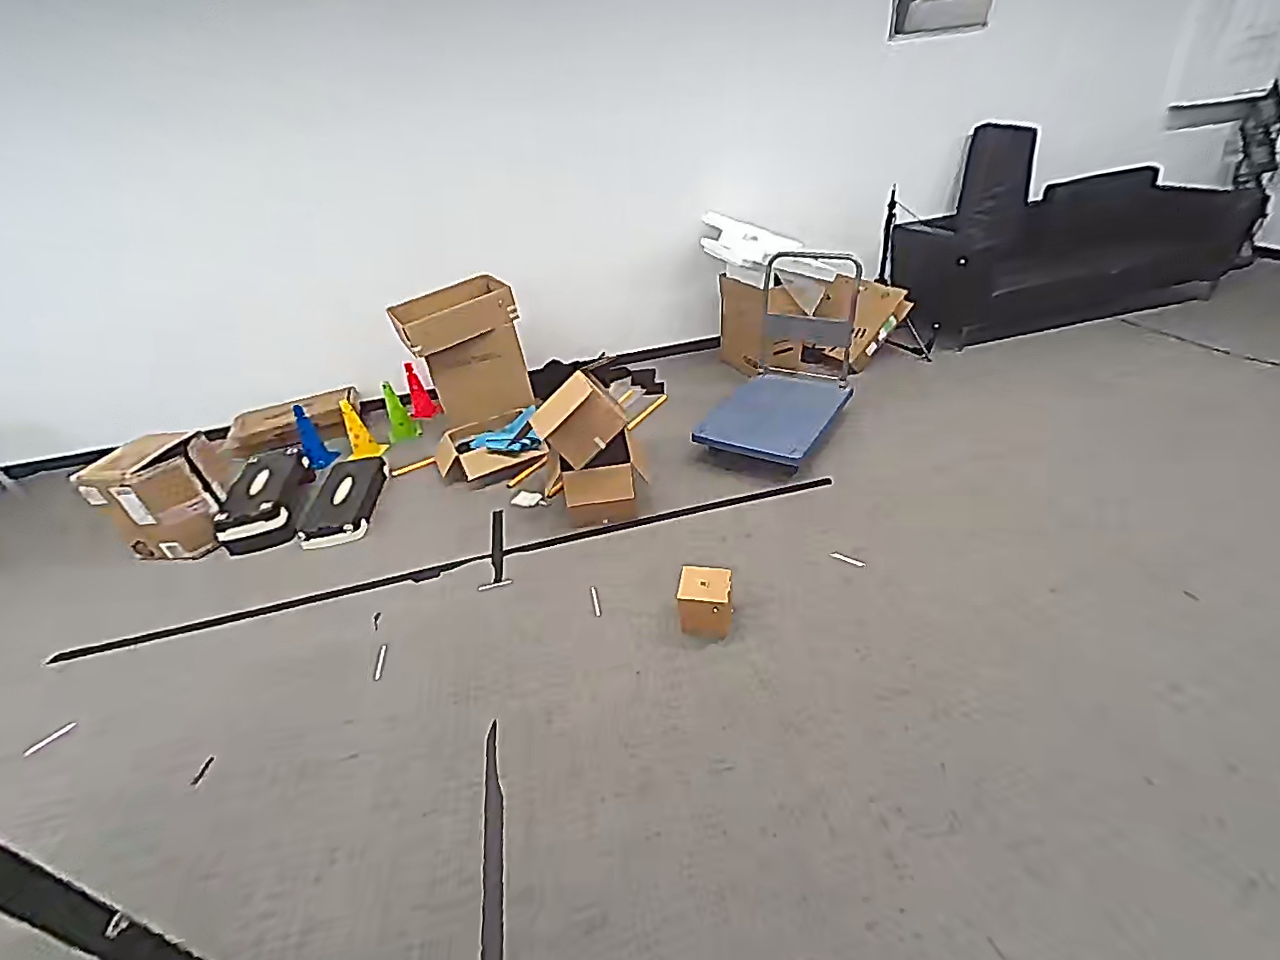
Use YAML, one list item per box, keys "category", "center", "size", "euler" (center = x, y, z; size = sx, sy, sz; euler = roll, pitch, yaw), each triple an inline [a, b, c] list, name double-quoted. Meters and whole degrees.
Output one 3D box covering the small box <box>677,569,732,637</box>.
- category: "small box"
  center: [0.234, 0.441, 1.940]
  size: [0.179, 0.176, 0.168]
  euler: [2, 34, 13]
